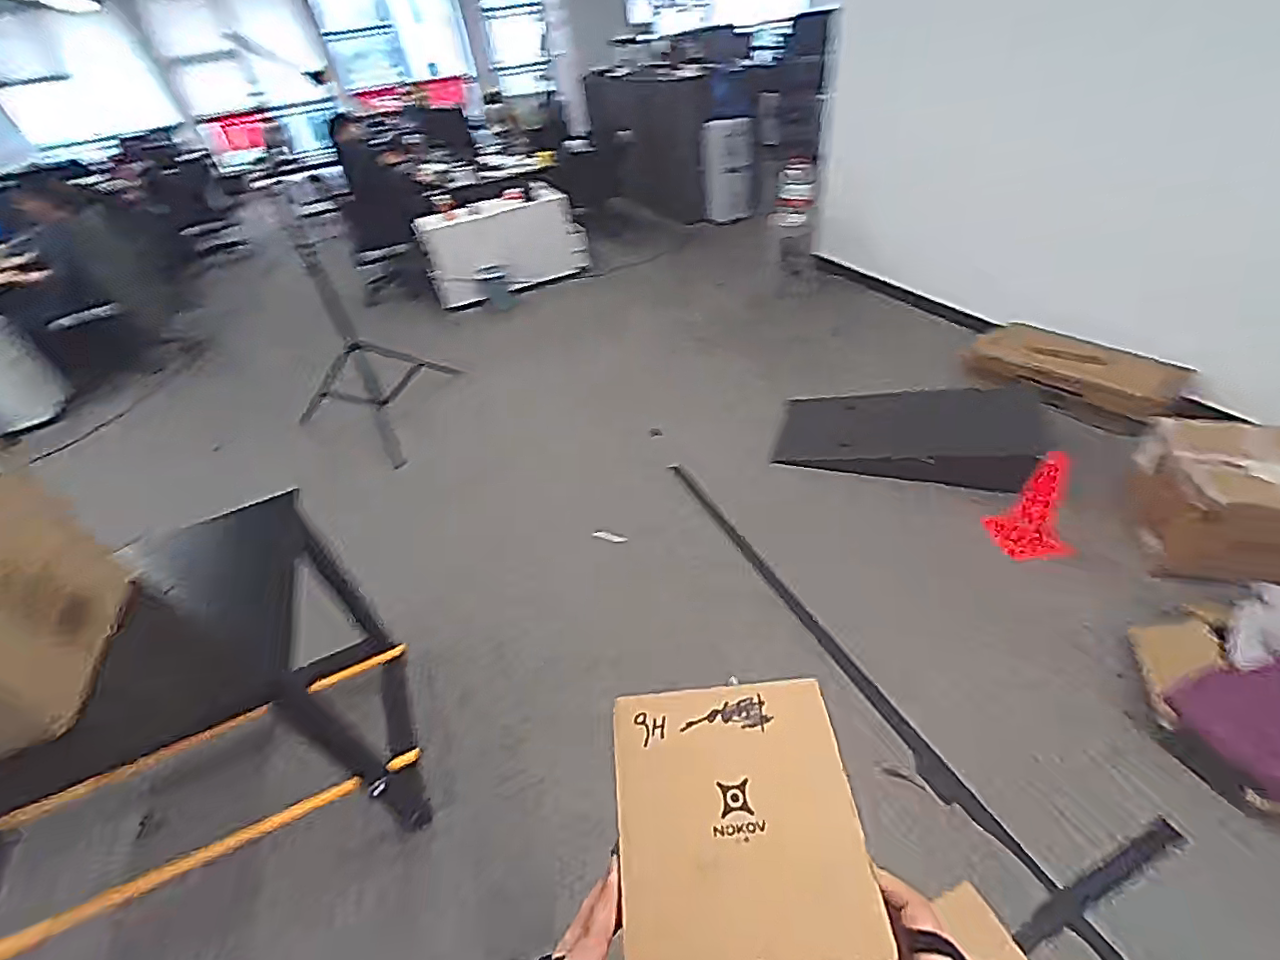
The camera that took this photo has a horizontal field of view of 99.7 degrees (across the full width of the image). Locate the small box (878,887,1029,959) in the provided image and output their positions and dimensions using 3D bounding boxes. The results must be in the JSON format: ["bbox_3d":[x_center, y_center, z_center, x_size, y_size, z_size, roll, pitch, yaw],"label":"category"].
[{"bbox_3d":[0.455,0.733,0.775,0.179,0.176,0.168,-20,40,-11],"label":"small box"}]

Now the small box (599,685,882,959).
[{"bbox_3d":[0.062,0.285,0.429,0.168,0.176,0.179,-7,50,-1],"label":"small box"}]
